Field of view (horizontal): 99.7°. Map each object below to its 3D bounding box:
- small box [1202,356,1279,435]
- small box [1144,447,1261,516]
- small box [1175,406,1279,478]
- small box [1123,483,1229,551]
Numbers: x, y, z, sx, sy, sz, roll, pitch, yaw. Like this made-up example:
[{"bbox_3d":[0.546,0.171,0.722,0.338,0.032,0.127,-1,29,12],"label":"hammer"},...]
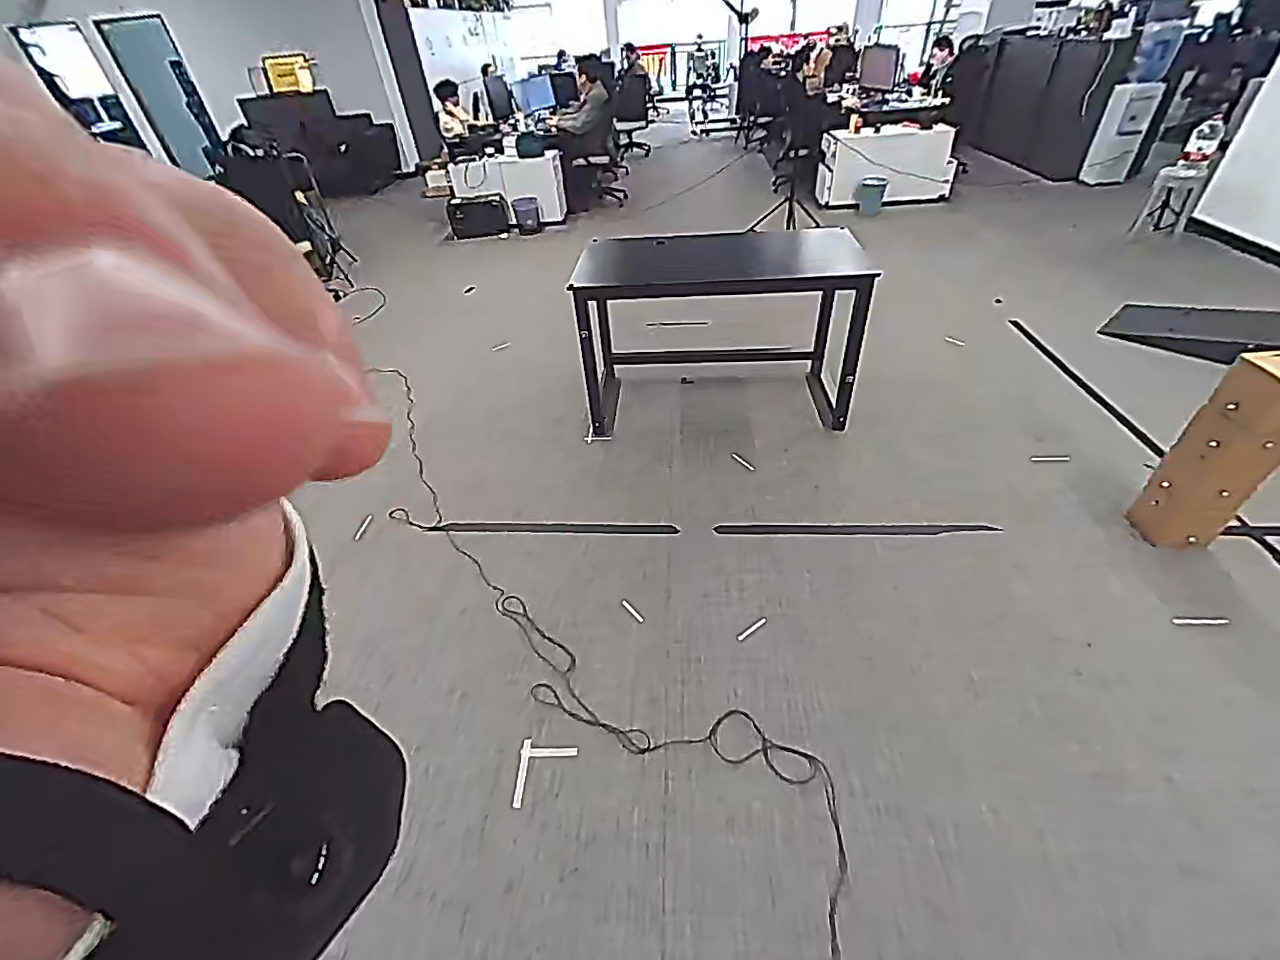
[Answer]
[{"bbox_3d":[1.821,-0.241,1.568,0.168,0.176,0.179,-2,42,5],"label":"small box"},{"bbox_3d":[1.840,0.005,1.783,0.179,0.176,0.168,-1,40,6],"label":"small box"},{"bbox_3d":[1.830,-0.118,1.676,0.179,0.176,0.168,-1,41,5],"label":"small box"},{"bbox_3d":[1.858,0.128,1.890,0.168,0.176,0.179,-1,41,6],"label":"small box"}]
